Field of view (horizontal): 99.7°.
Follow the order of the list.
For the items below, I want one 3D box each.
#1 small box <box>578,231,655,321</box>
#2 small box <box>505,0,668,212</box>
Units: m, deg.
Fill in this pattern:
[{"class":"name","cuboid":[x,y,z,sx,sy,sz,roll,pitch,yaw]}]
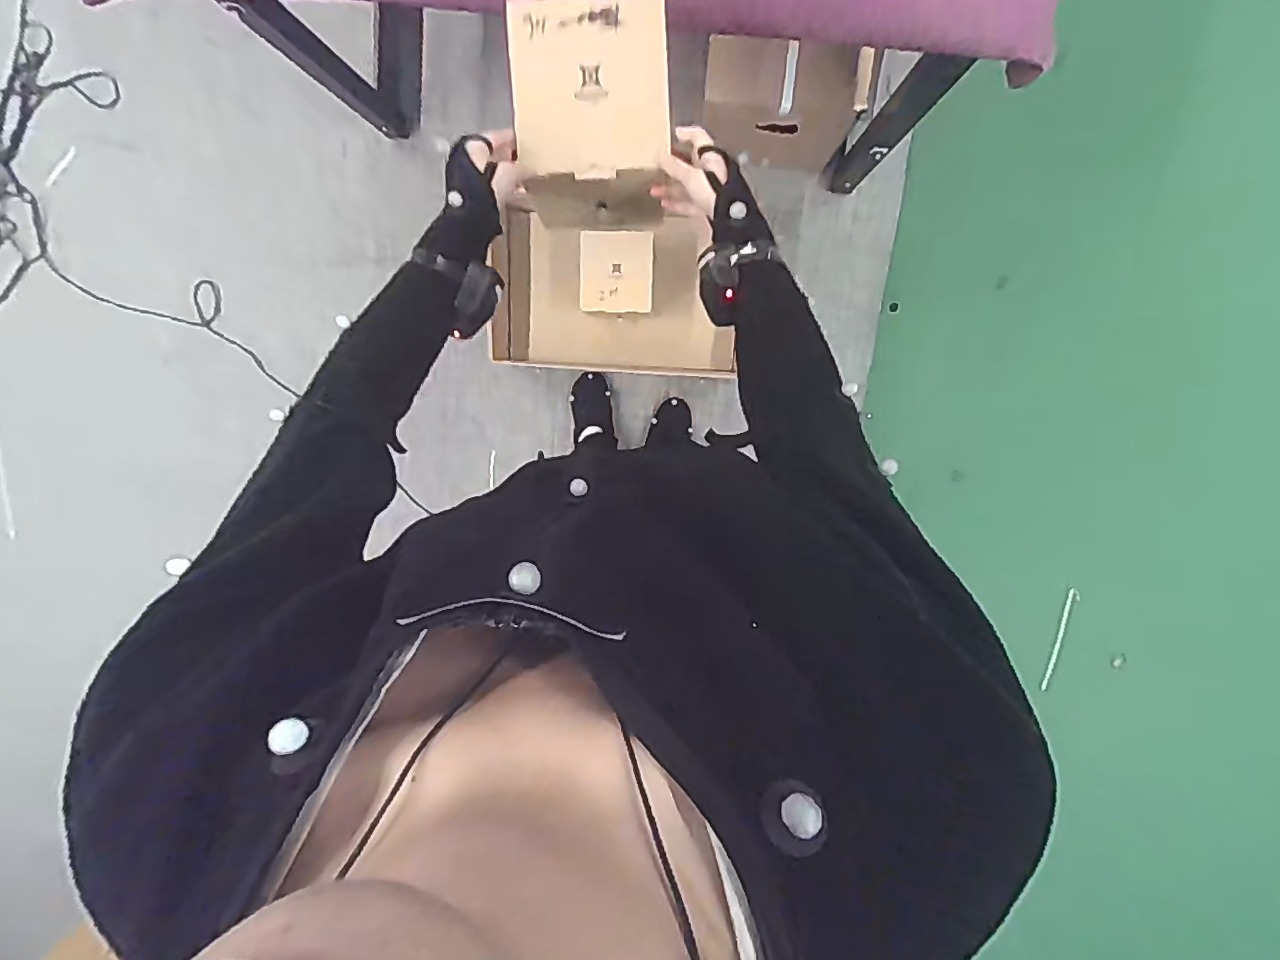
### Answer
[{"class":"small box","cuboid":[-0.051,-0.478,1.285,0.168,0.176,0.179,3,102,4]},{"class":"small box","cuboid":[-0.053,-0.428,0.634,0.168,0.176,0.179,-2,98,-1]}]
